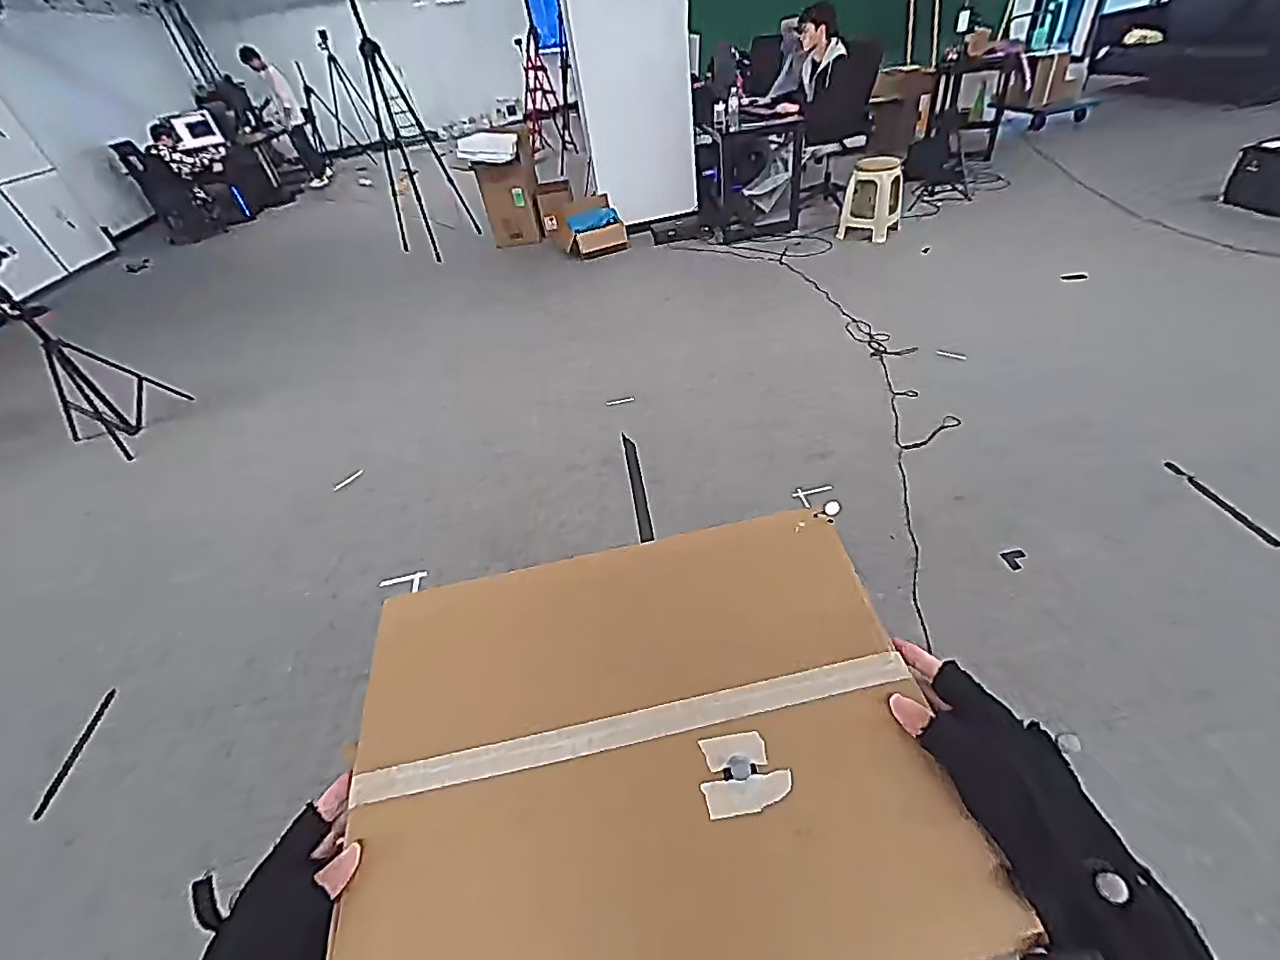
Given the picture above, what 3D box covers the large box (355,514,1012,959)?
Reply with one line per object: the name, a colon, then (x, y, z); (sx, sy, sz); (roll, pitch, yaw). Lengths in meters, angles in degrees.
large box: (0.016, 0.282, 0.515); (0.408, 0.320, 0.320); (-12, 49, -2)
